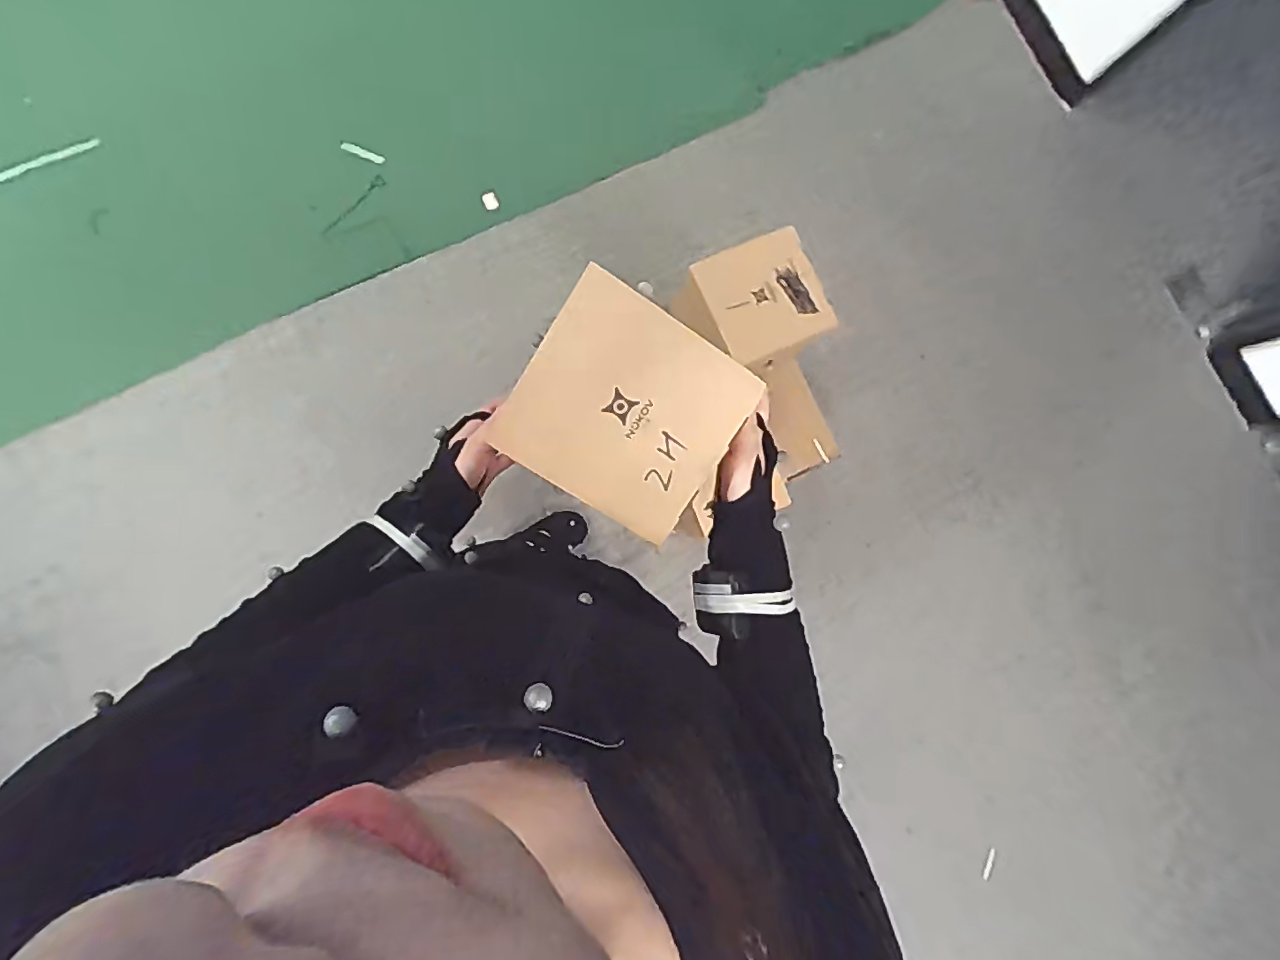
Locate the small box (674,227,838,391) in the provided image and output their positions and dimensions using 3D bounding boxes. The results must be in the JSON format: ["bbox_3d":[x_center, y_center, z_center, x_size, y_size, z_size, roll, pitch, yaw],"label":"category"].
[{"bbox_3d":[0.173,-0.261,0.859,0.179,0.176,0.168,-24,88,-8],"label":"small box"}]

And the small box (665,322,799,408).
[{"bbox_3d":[0.164,-0.253,1.023,0.179,0.176,0.168,-24,88,-7],"label":"small box"}]

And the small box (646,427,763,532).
[{"bbox_3d":[0.130,0.002,1.158,0.179,0.176,0.168,-22,88,-9],"label":"small box"}]
